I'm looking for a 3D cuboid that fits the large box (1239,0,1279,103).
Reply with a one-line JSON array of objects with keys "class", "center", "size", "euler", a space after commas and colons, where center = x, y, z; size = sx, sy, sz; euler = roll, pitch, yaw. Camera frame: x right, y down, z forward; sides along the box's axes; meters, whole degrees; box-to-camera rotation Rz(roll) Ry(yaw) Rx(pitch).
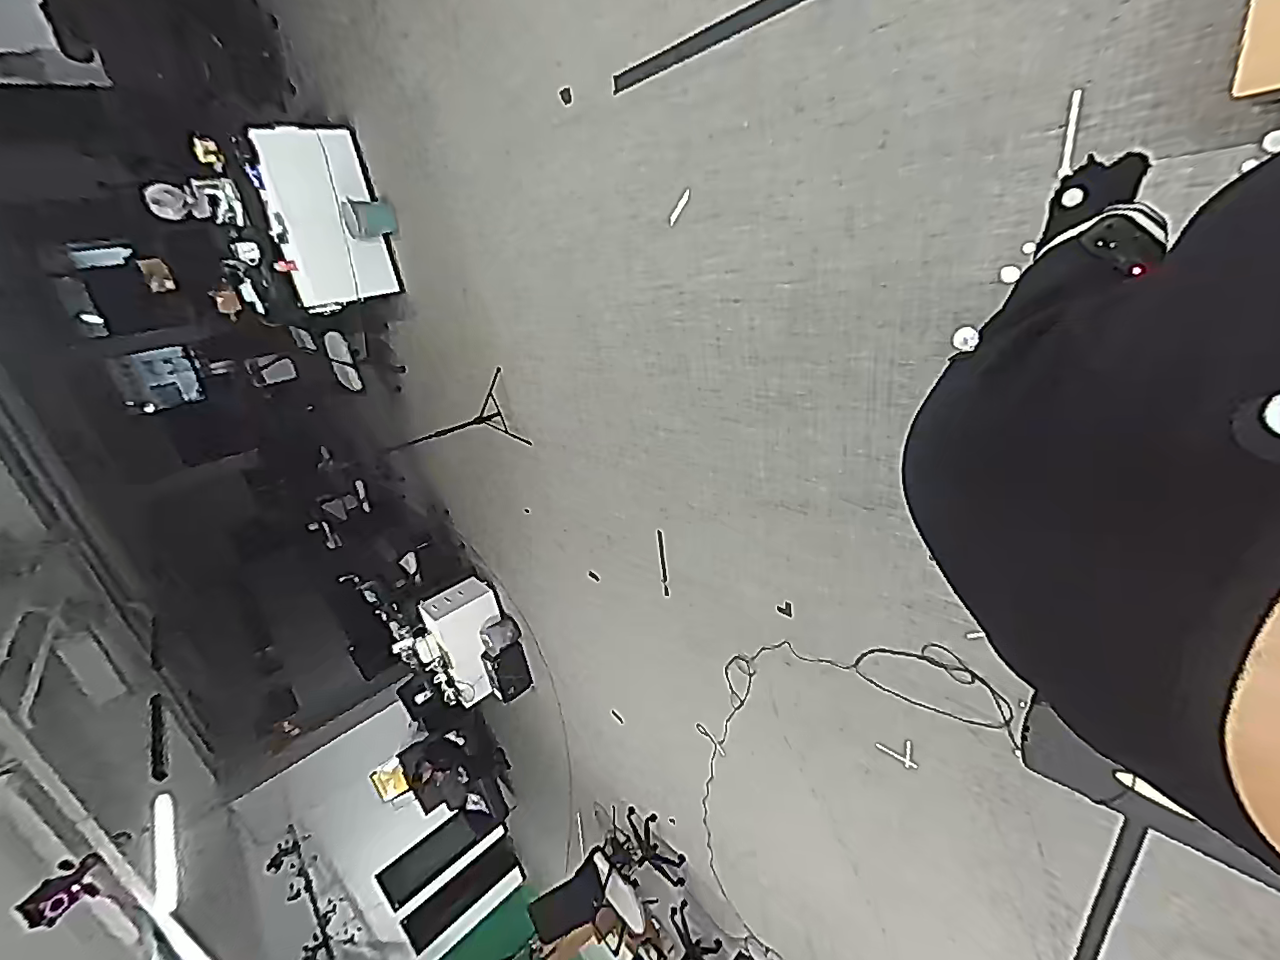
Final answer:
[{"class": "large box", "center": [1.017, -0.683, 0.619], "size": [0.408, 0.320, 0.320], "euler": [14, 123, 46]}]
